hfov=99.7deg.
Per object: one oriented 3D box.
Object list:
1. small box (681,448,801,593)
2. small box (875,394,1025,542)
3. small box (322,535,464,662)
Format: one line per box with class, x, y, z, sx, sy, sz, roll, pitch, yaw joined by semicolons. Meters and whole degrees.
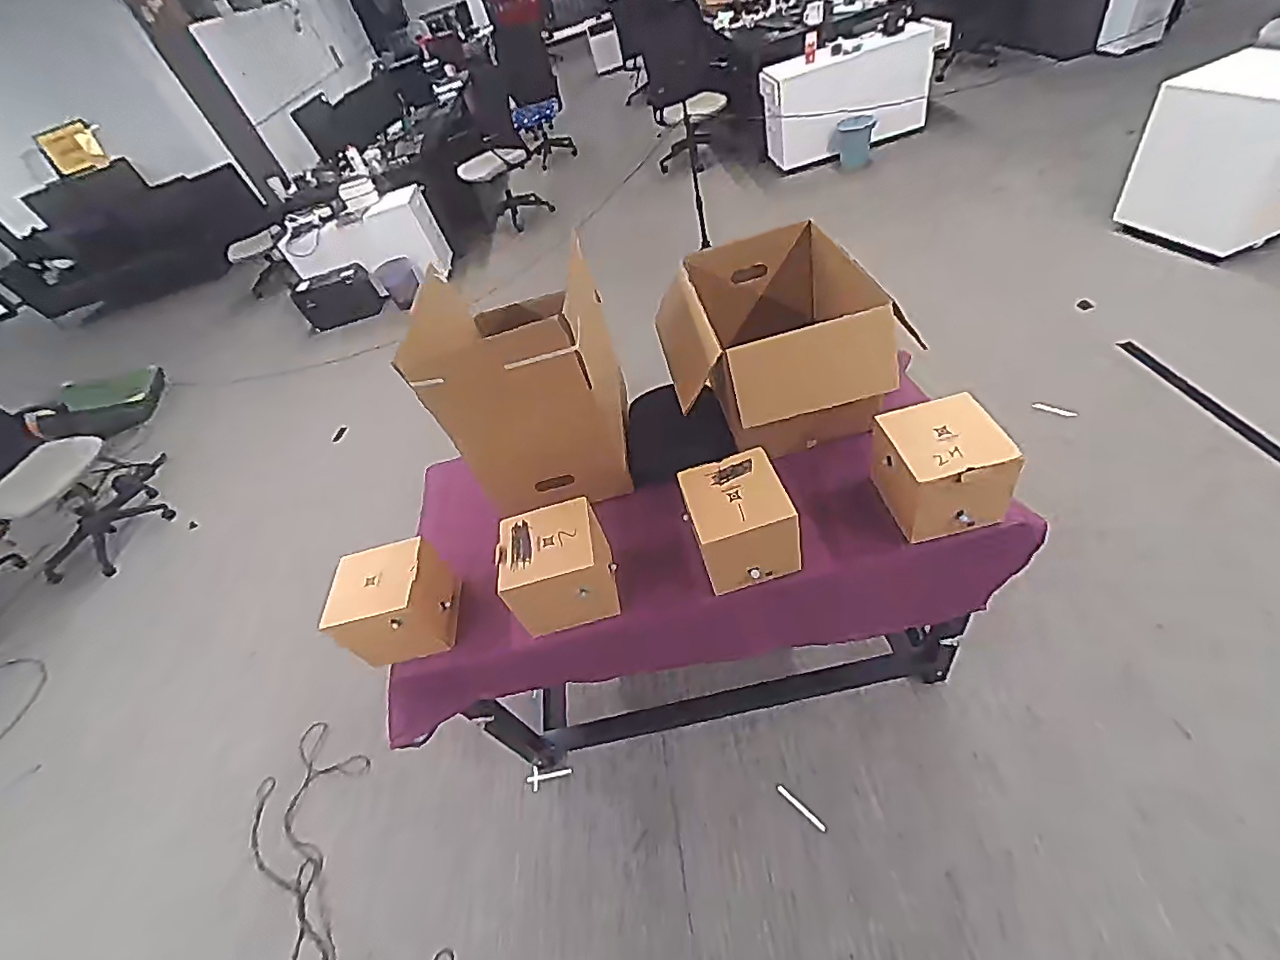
small box;0.184;0.076;0.992;0.168;0.176;0.179;-18;46;3
small box;0.530;-0.018;0.957;0.168;0.176;0.179;-15;45;7
small box;-0.475;0.240;1.069;0.179;0.176;0.168;-14;45;4
